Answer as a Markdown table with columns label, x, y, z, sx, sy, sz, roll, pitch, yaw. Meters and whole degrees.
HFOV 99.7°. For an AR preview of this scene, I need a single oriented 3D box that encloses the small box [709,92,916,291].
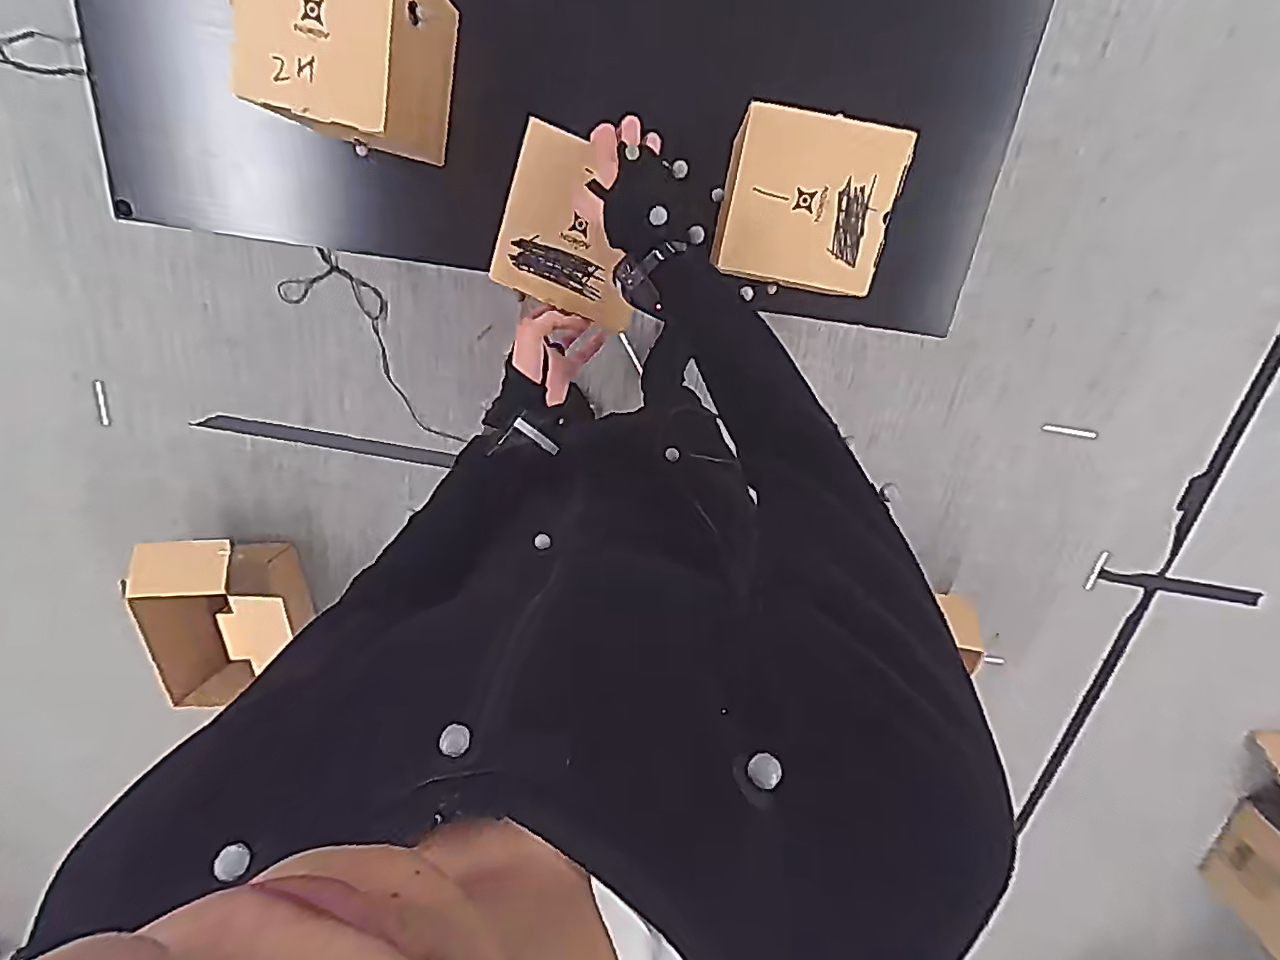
| label | x | y | z | sx | sy | sz | roll | pitch | yaw |
| --- | --- | --- | --- | --- | --- | --- | --- | --- | --- |
| small box | 0.188 | -0.331 | 0.650 | 0.179 | 0.176 | 0.168 | 11 | 110 | 0 |

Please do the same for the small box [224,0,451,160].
| label | x | y | z | sx | sy | sz | roll | pitch | yaw |
| --- | --- | --- | --- | --- | --- | --- | --- | --- | --- |
| small box | -0.329 | -0.494 | 0.616 | 0.168 | 0.176 | 0.179 | 14 | 111 | -2 |
